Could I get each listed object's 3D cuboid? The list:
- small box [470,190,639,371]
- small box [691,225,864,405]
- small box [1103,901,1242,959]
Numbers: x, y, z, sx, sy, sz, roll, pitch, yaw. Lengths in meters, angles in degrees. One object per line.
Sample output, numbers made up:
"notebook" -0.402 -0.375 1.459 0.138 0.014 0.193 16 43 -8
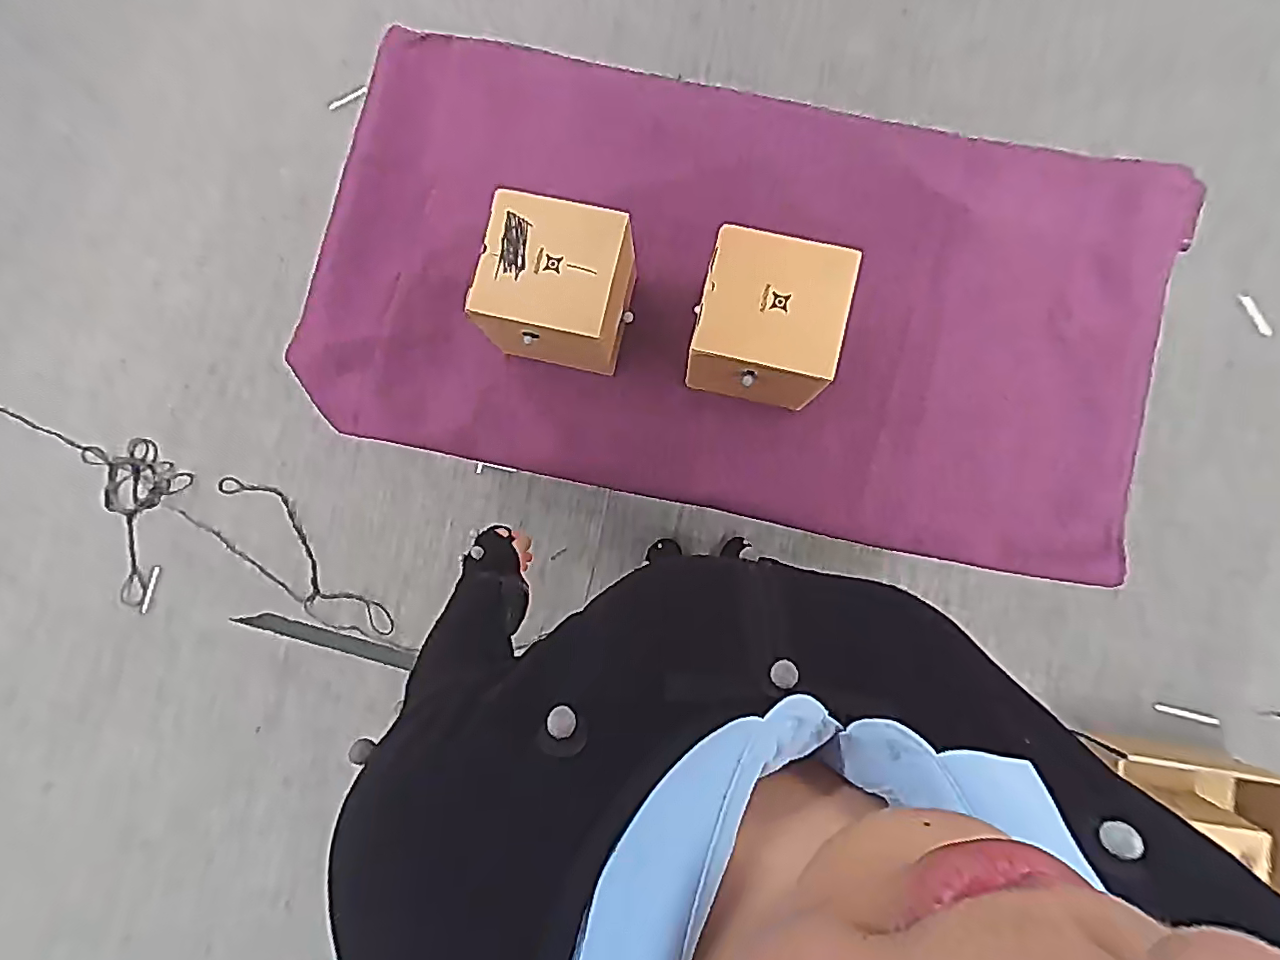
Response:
"small box" -0.106 -0.264 0.752 0.179 0.176 0.168 13 86 4
"small box" 0.173 -0.209 0.732 0.179 0.176 0.168 14 86 5
"small box" 1.211 1.110 1.233 0.179 0.176 0.168 10 86 3
